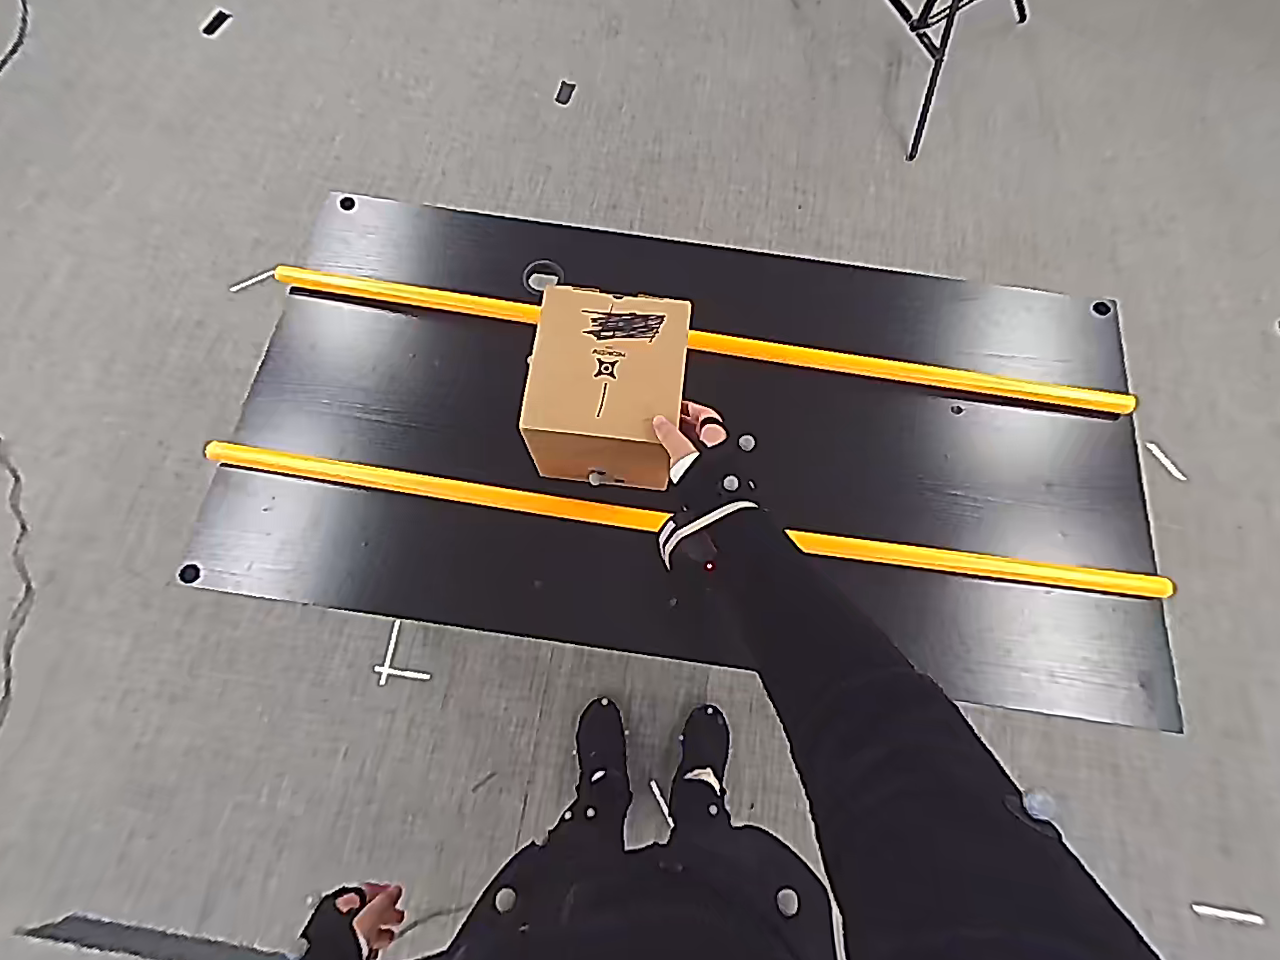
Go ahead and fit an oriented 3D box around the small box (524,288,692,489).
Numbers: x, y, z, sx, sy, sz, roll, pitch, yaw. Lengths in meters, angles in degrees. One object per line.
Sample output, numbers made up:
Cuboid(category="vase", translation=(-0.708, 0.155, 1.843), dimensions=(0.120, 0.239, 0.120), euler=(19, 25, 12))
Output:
Cuboid(category="small box", translation=(-0.034, -0.103, 0.662), dimensions=(0.168, 0.176, 0.179), euler=(6, 73, 0))
